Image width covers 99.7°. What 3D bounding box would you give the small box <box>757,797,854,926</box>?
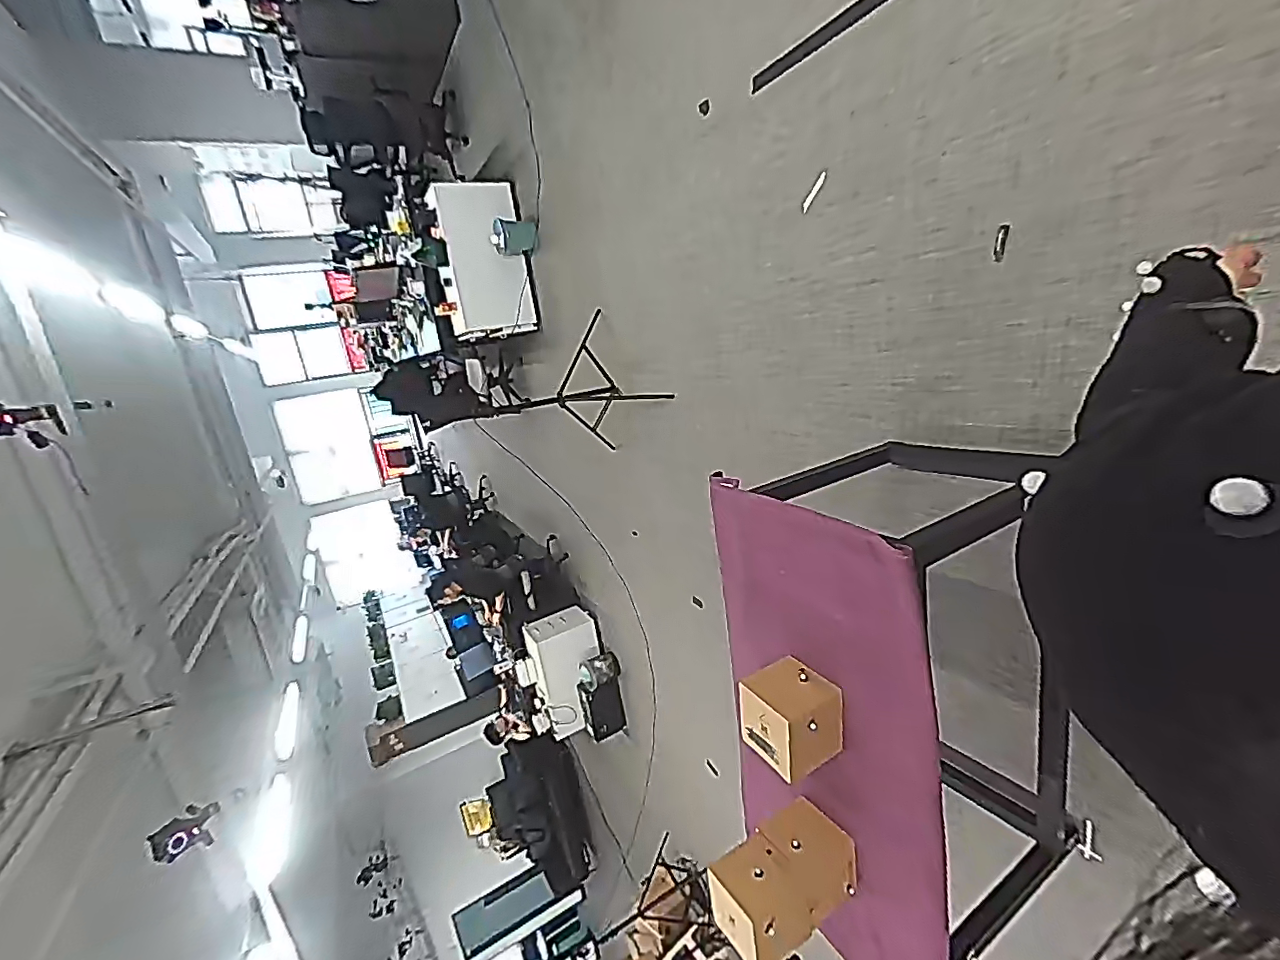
[{"bbox_3d":[0.424,0.955,1.373,0.179,0.176,0.168,18,120,59],"label":"small box"}]

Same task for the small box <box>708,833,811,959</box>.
[{"bbox_3d":[0.287,1.000,1.292,0.168,0.176,0.179,16,119,59],"label":"small box"}]
